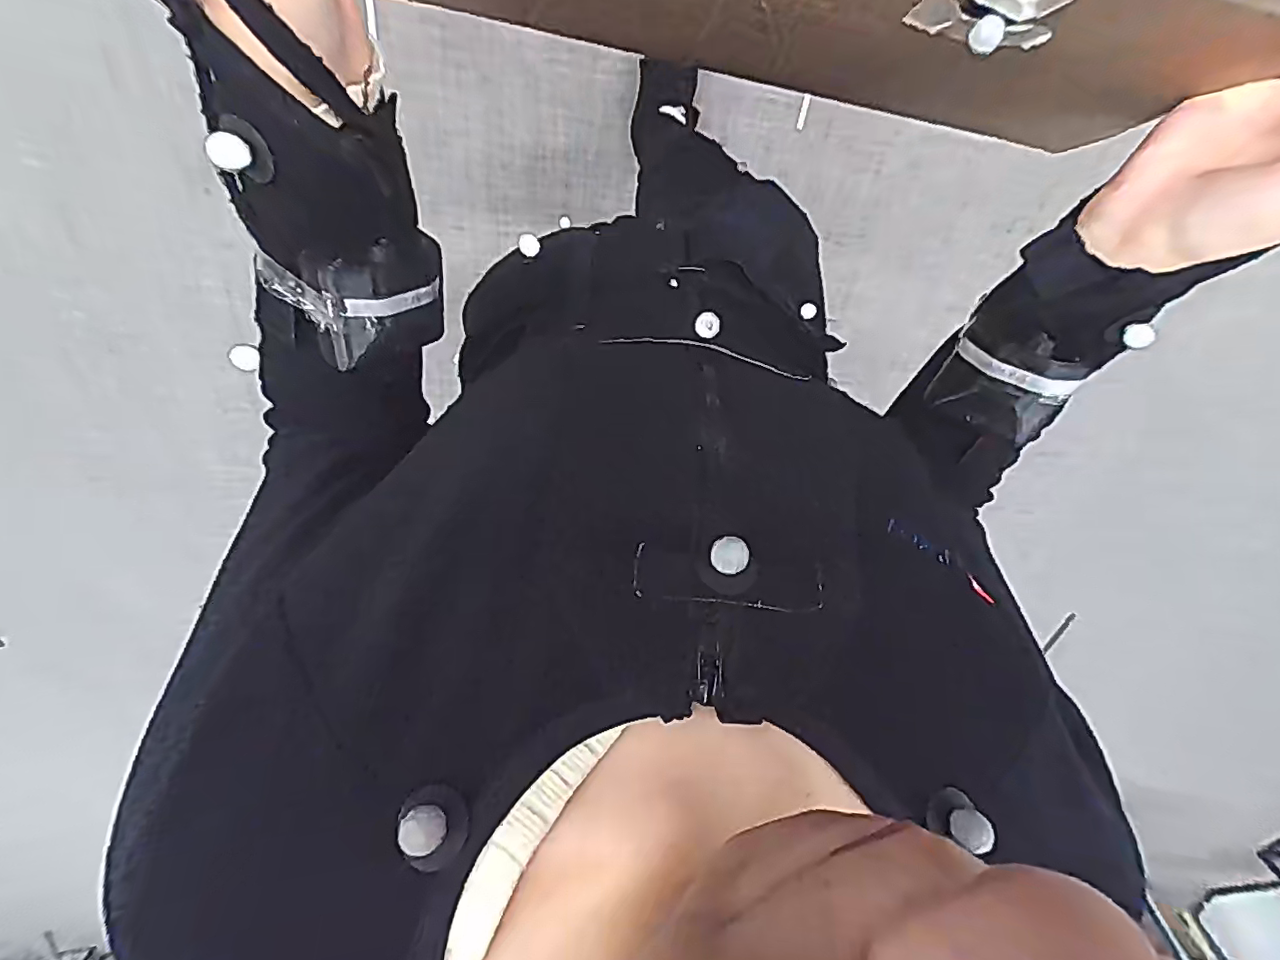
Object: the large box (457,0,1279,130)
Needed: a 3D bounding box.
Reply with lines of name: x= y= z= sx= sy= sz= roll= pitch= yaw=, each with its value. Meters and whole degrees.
large box: x=0.097 y=-0.337 z=0.121 sx=0.408 sy=0.320 sz=0.320 roll=5 pitch=106 yaw=-9
